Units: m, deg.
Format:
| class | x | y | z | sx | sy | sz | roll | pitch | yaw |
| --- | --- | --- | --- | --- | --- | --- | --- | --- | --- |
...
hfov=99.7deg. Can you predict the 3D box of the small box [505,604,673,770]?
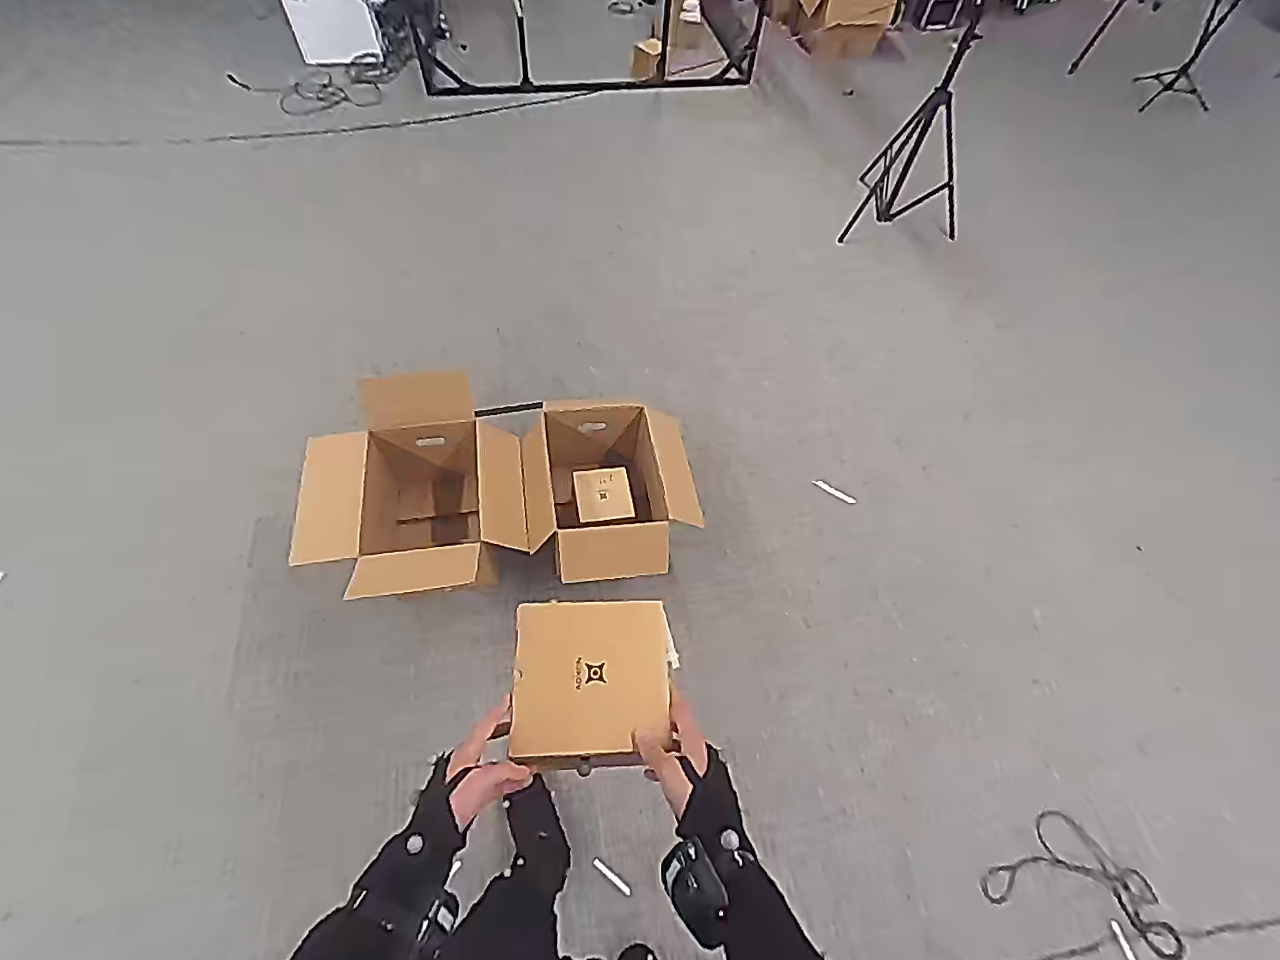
| class | x | y | z | sx | sy | sz | roll | pitch | yaw |
| --- | --- | --- | --- | --- | --- | --- | --- | --- | --- |
| small box | -0.059 | 0.258 | 0.667 | 0.179 | 0.176 | 0.168 | -1 | 58 | -4 |
